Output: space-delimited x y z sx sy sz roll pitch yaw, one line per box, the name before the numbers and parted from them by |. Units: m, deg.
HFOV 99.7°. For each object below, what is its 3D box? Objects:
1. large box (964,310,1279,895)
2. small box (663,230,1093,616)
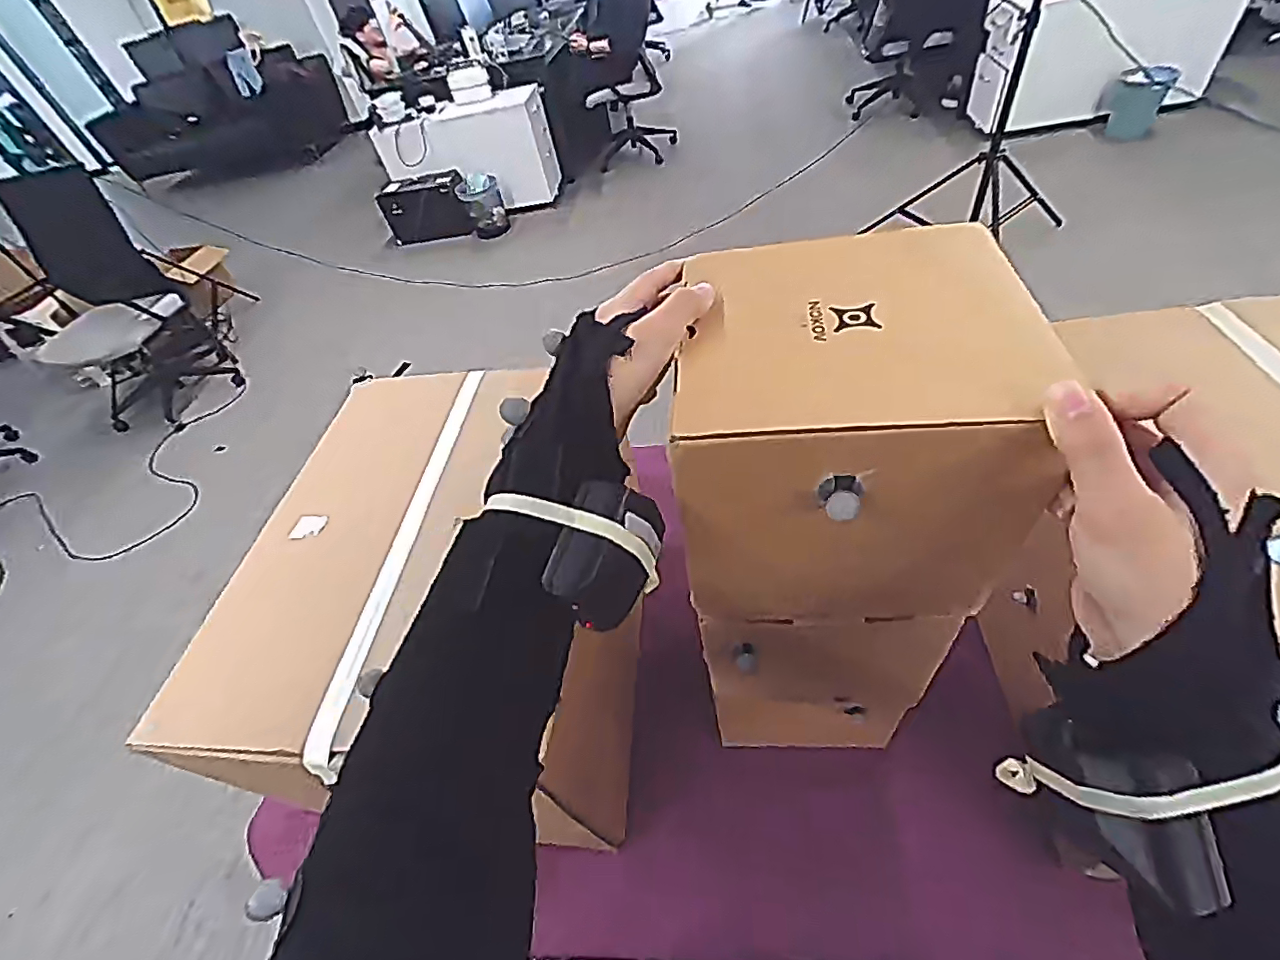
large box | 0.515 0.102 0.476 0.320 0.320 0.408 -3 47 10
small box | 0.117 -0.027 0.338 0.179 0.176 0.168 -2 49 12
